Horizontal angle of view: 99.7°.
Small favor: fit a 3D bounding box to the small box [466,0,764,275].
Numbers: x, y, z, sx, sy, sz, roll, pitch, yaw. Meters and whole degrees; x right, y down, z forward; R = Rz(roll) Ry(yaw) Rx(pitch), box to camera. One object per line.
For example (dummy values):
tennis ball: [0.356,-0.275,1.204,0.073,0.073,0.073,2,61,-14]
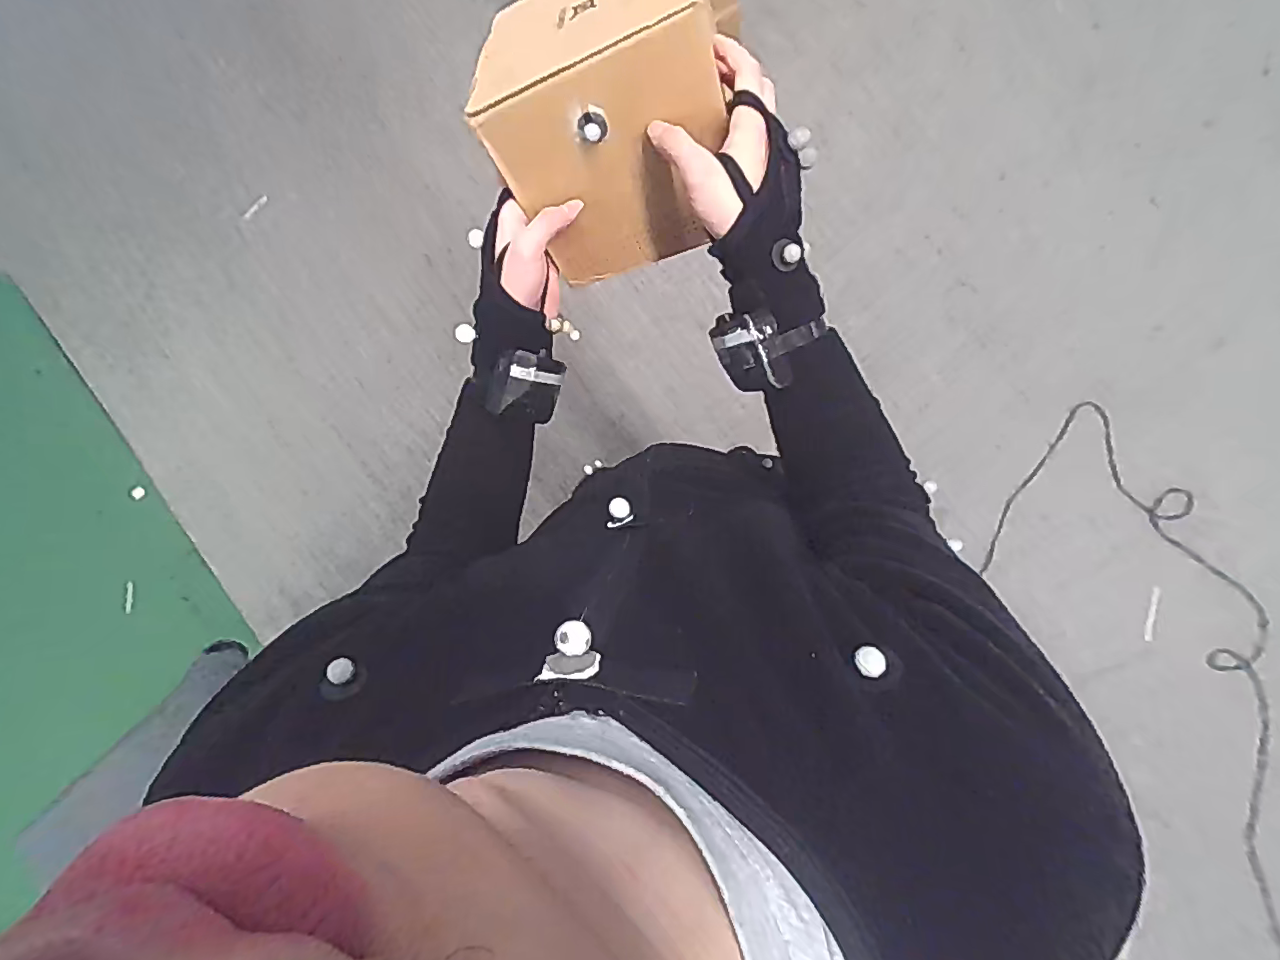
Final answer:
small box: [-0.009,-0.300,0.441,0.179,0.176,0.168,-12,58,17]
